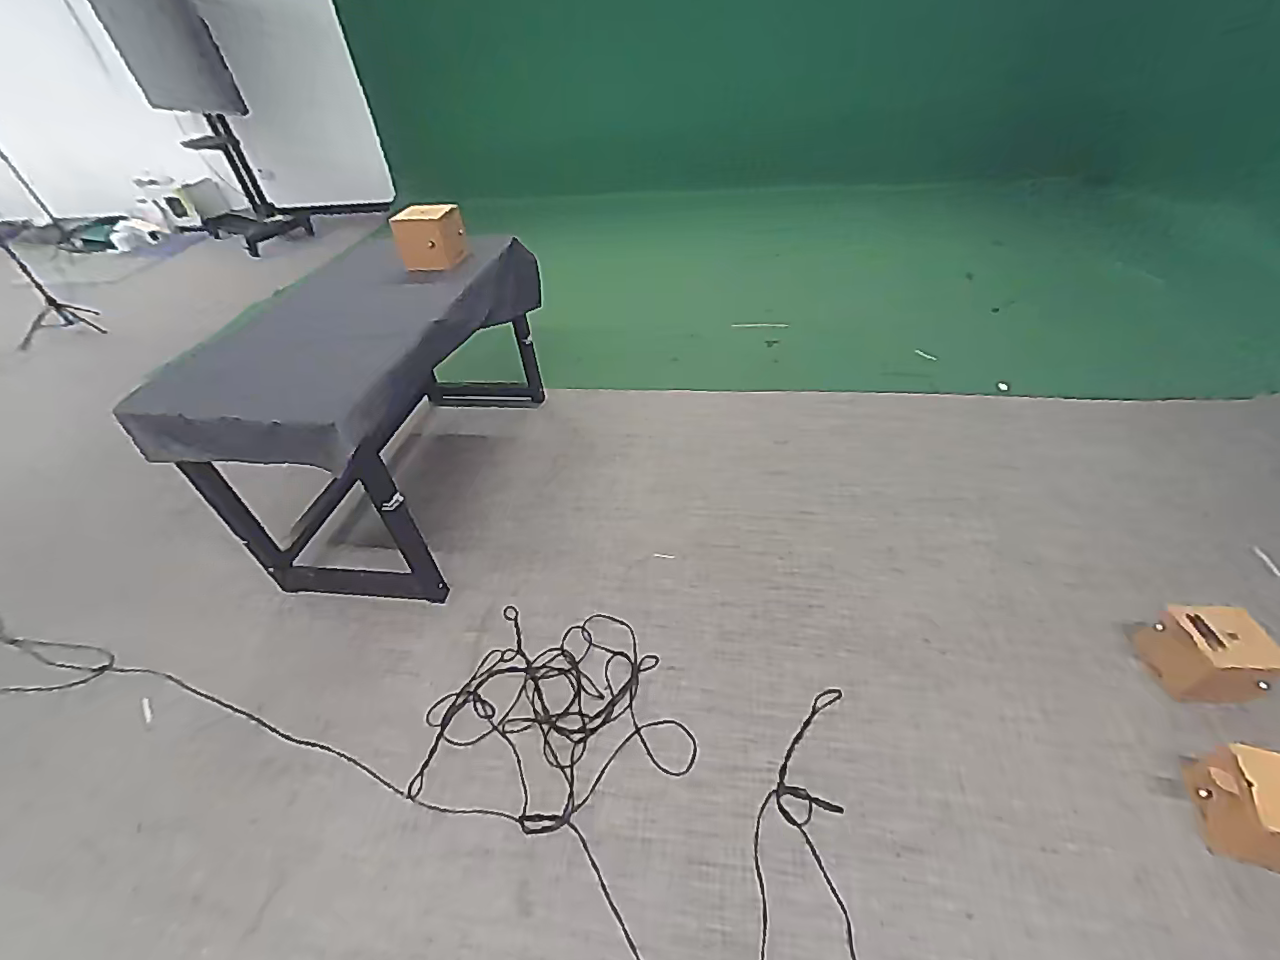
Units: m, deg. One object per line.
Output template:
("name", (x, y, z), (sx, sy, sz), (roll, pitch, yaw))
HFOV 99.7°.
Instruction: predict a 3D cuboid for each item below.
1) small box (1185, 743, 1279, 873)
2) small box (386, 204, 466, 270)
("small box", (1.255, 0.657, 1.068), (0.179, 0.176, 0.168), (10, 44, 17))
("small box", (-0.725, -0.835, 1.860), (0.179, 0.176, 0.168), (2, 41, 11))
